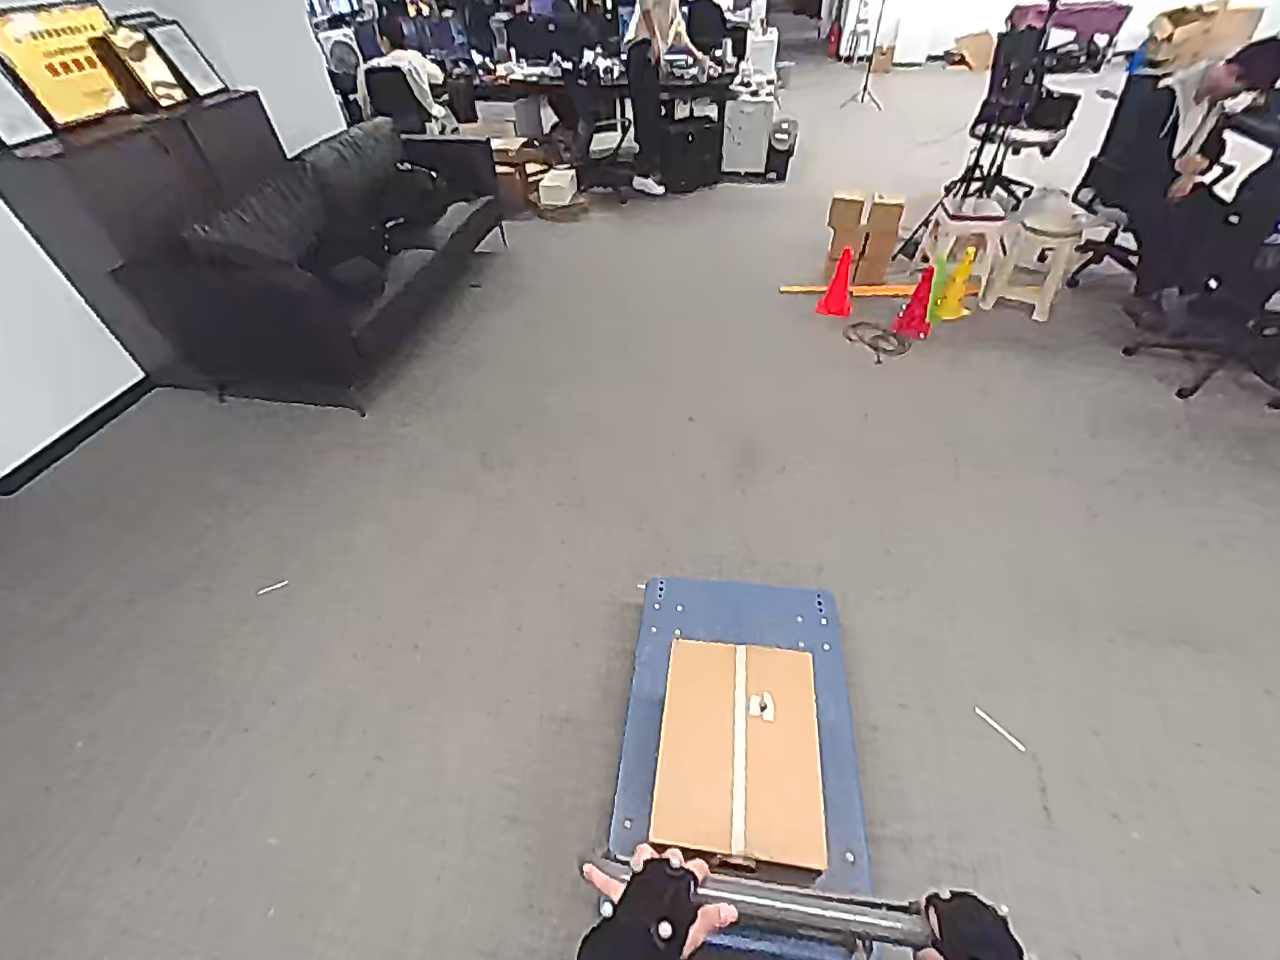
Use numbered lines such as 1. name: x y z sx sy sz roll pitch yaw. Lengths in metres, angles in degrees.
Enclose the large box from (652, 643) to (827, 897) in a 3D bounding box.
1. large box: 0.204 0.627 1.188 0.320 0.320 0.408 4 44 7
